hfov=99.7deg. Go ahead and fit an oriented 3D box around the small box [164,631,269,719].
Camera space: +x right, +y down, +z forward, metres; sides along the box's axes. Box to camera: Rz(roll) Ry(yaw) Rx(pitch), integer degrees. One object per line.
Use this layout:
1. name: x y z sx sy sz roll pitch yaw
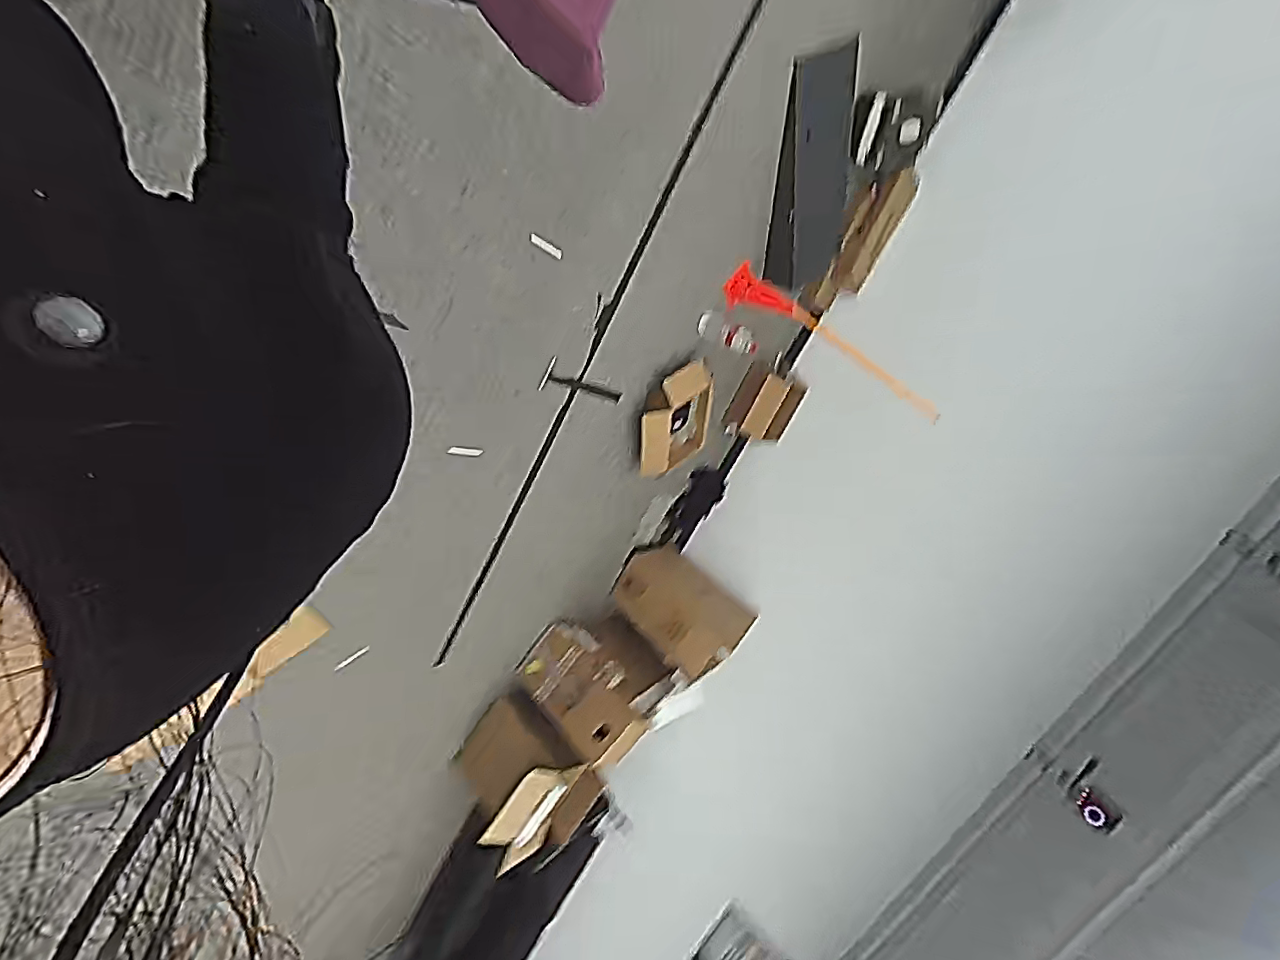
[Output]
1. small box: -1.308 0.599 1.672 0.168 0.176 0.179 -41 149 -22
